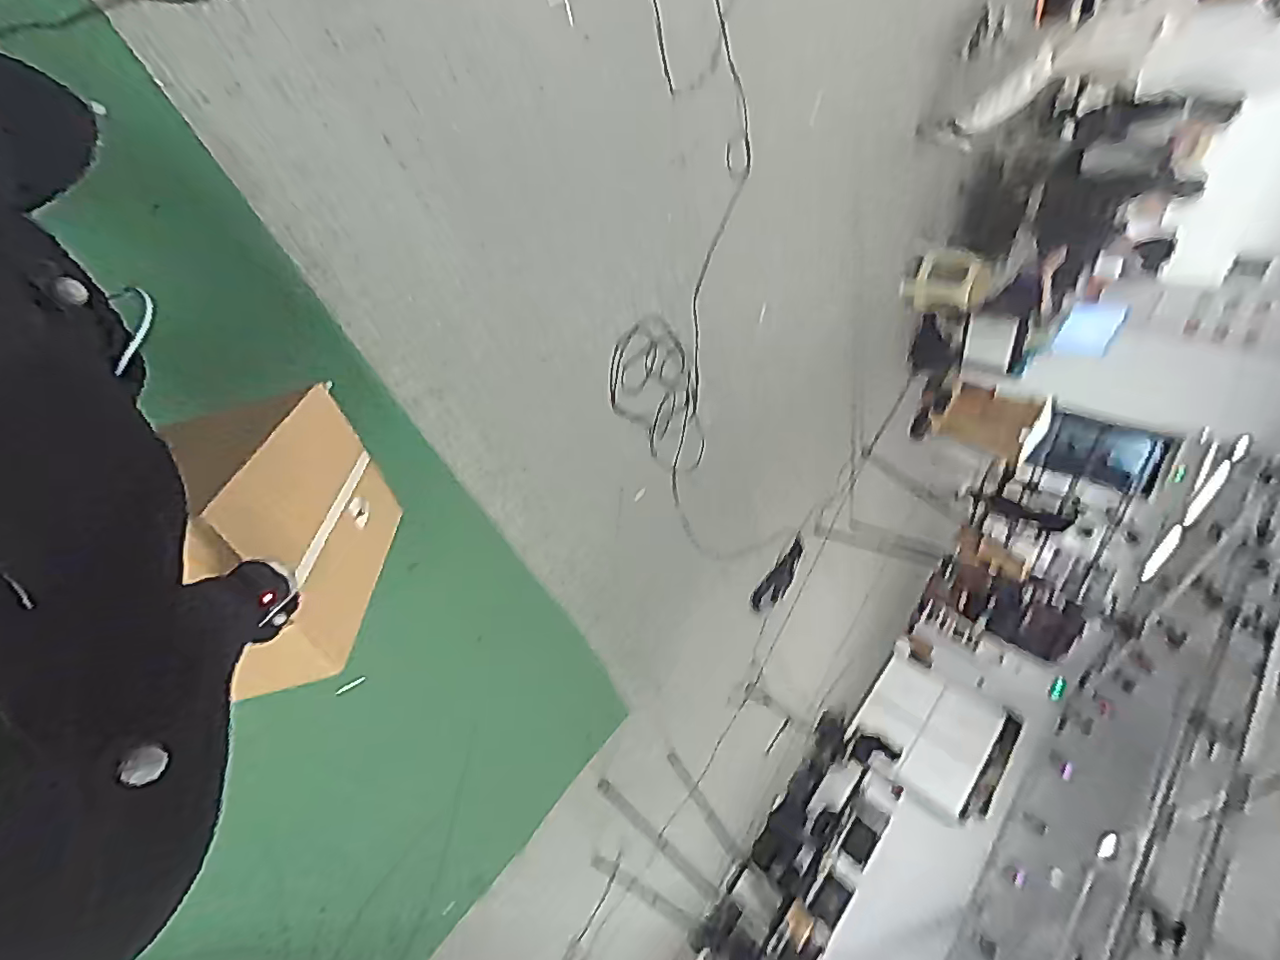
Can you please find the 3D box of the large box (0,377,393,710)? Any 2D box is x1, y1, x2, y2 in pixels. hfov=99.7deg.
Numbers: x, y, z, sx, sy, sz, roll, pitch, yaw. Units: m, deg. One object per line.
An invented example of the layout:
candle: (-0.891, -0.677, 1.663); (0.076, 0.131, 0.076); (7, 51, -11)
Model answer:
large box: (-0.666, 0.085, 0.889); (0.320, 0.408, 0.320); (-15, 124, 0)
